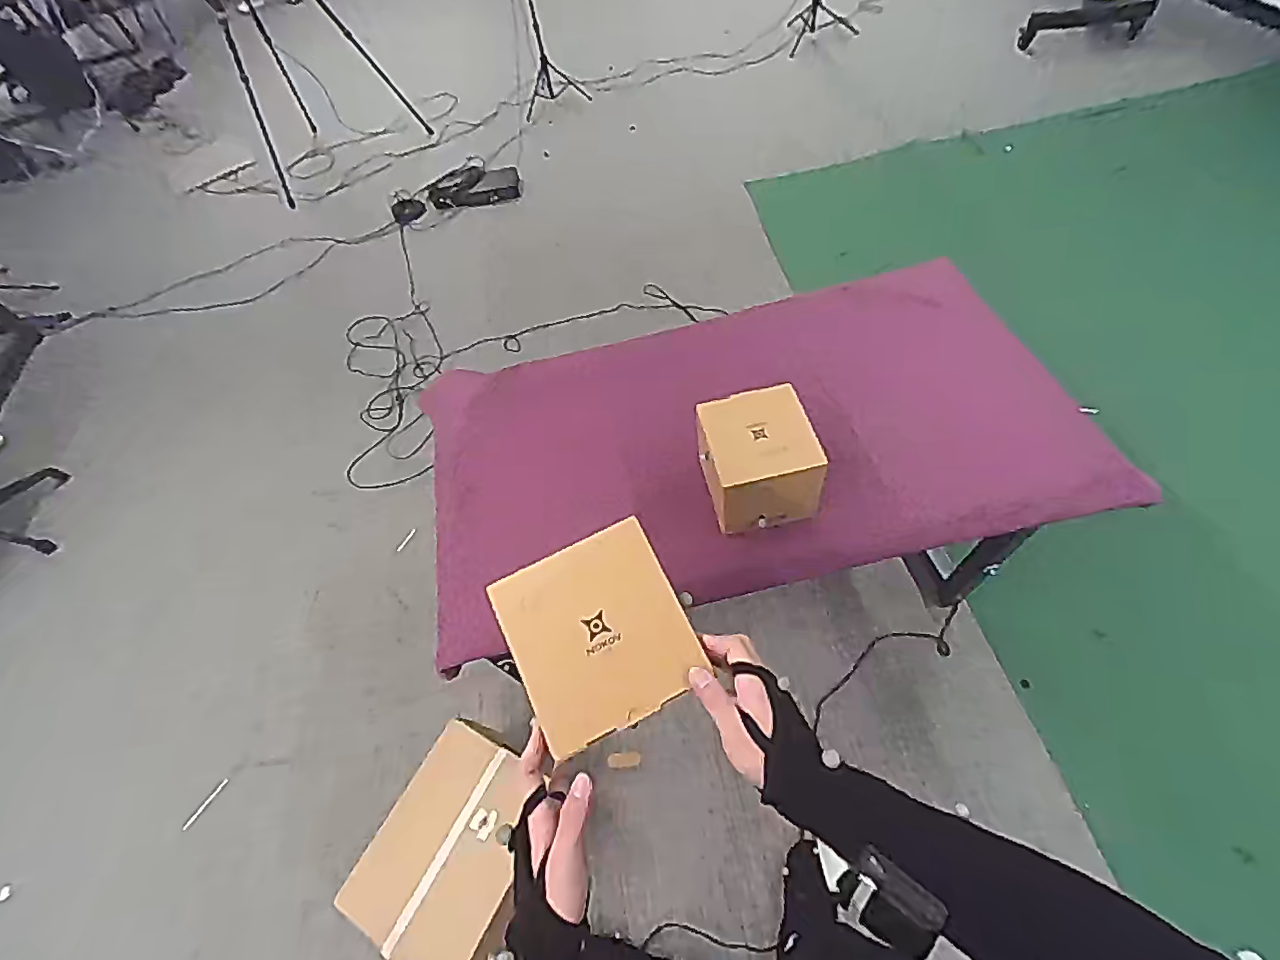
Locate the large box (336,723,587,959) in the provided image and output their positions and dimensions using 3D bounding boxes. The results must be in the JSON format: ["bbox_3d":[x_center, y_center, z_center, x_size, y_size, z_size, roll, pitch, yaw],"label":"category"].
[{"bbox_3d":[-0.374,0.848,1.239,0.320,0.320,0.408,22,62,20],"label":"large box"}]

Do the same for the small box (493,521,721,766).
[{"bbox_3d":[-0.035,0.171,0.579,0.168,0.176,0.179,-25,73,-8],"label":"small box"}]

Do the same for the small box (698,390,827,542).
[{"bbox_3d":[0.197,-0.021,0.916,0.168,0.176,0.179,-13,55,2],"label":"small box"}]
